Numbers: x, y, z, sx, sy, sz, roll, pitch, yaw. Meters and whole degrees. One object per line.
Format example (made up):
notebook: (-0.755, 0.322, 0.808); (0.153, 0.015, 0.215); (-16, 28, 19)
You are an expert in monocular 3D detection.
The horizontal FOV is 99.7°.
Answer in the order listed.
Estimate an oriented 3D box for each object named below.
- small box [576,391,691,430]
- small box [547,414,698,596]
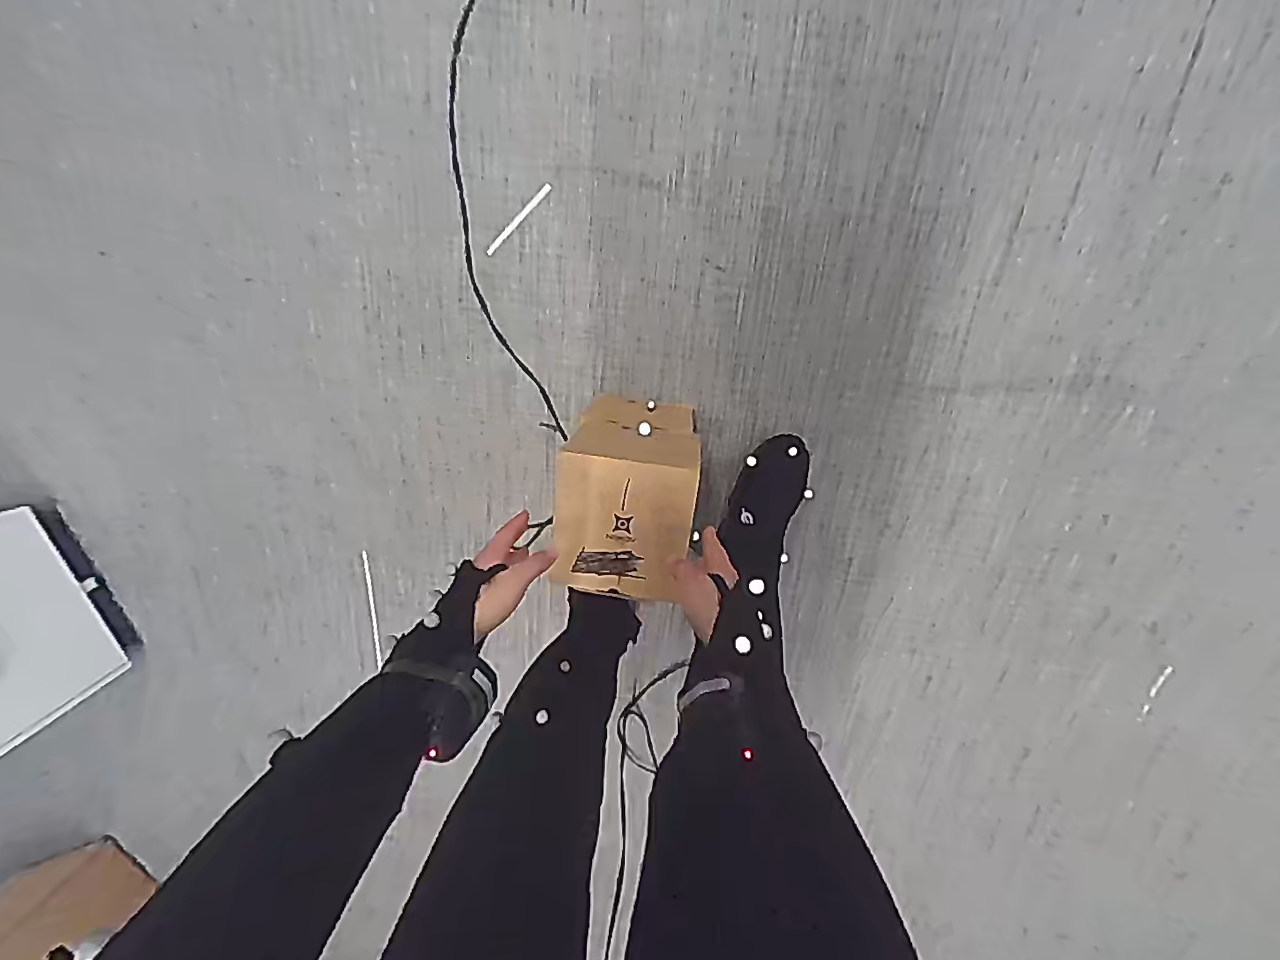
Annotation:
small box: (-0.010, -0.033, 0.870); (0.168, 0.176, 0.179); (8, 110, 3)
small box: (-0.017, 0.024, 0.715); (0.168, 0.176, 0.179); (9, 110, 3)
